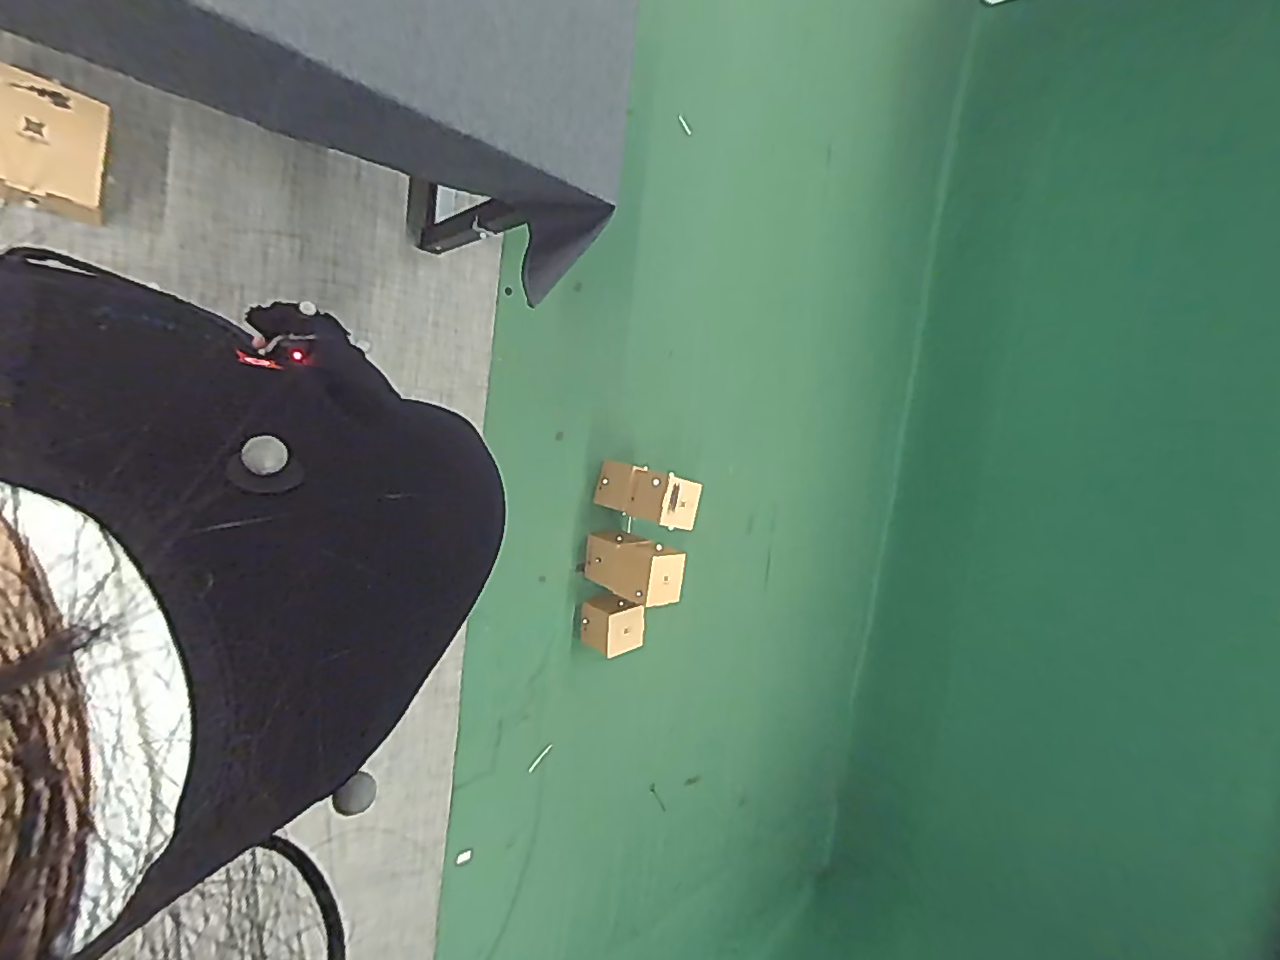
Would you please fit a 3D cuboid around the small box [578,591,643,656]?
[{"bbox_3d":[-0.112,0.528,2.022,0.179,0.176,0.168,-6,103,-44],"label":"small box"}]

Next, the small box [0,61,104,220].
[{"bbox_3d":[-1.016,-0.559,0.897,0.168,0.176,0.179,7,94,-44],"label":"small box"}]

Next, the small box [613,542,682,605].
[{"bbox_3d":[0.024,0.316,1.877,0.168,0.176,0.179,2,98,-45],"label":"small box"}]

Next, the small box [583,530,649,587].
[{"bbox_3d":[-0.092,0.284,1.988,0.179,0.176,0.168,-2,100,-45],"label":"small box"}]

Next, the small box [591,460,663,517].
[{"bbox_3d":[-0.049,0.029,1.975,0.179,0.176,0.168,16,87,-44],"label":"small box"}]
